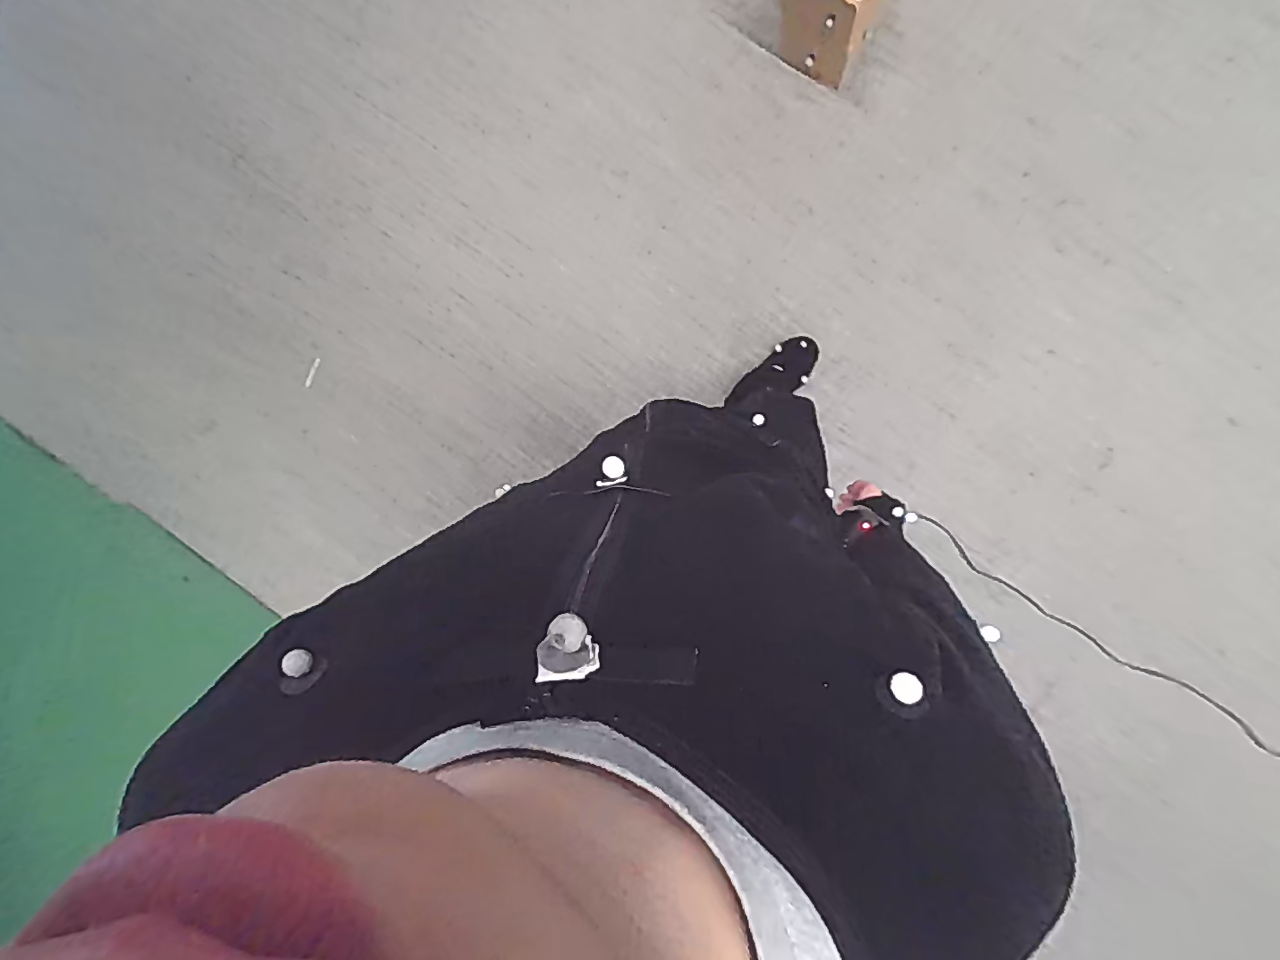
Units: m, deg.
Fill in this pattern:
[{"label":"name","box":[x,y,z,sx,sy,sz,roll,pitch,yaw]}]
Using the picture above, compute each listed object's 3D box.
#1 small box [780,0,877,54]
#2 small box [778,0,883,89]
[{"label":"small box","box":[0.384,-0.981,1.039,0.168,0.176,0.179,33,106,3]},{"label":"small box","box":[0.423,-1.017,1.193,0.168,0.176,0.179,32,108,4]}]
